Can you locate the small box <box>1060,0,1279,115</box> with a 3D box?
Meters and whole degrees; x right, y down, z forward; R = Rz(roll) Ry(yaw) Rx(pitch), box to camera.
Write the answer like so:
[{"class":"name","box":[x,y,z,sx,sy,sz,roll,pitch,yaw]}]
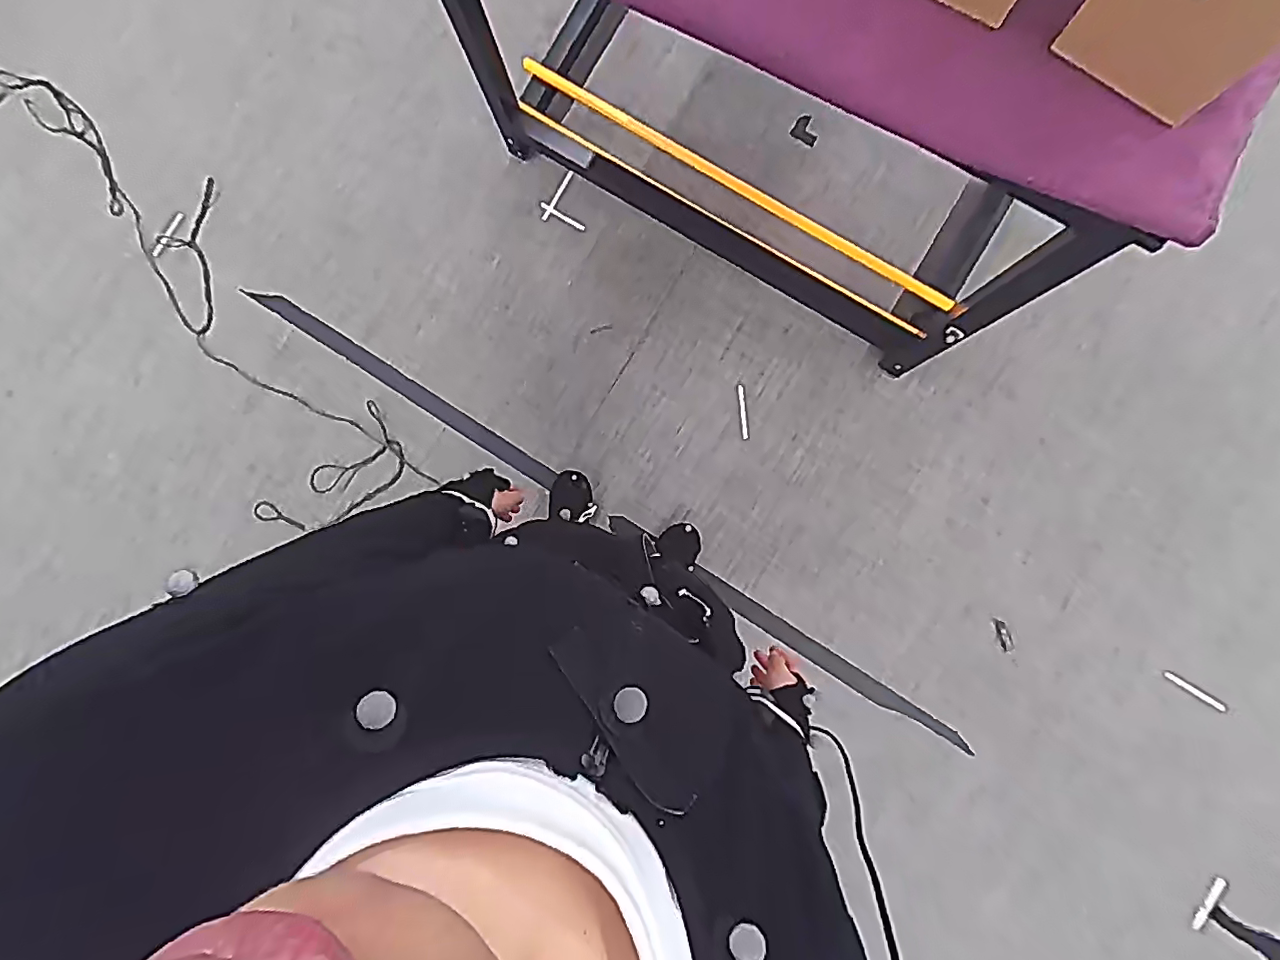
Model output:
[{"class":"small box","box":[0.604,-0.536,0.563,0.179,0.176,0.168,37,89,4]}]
